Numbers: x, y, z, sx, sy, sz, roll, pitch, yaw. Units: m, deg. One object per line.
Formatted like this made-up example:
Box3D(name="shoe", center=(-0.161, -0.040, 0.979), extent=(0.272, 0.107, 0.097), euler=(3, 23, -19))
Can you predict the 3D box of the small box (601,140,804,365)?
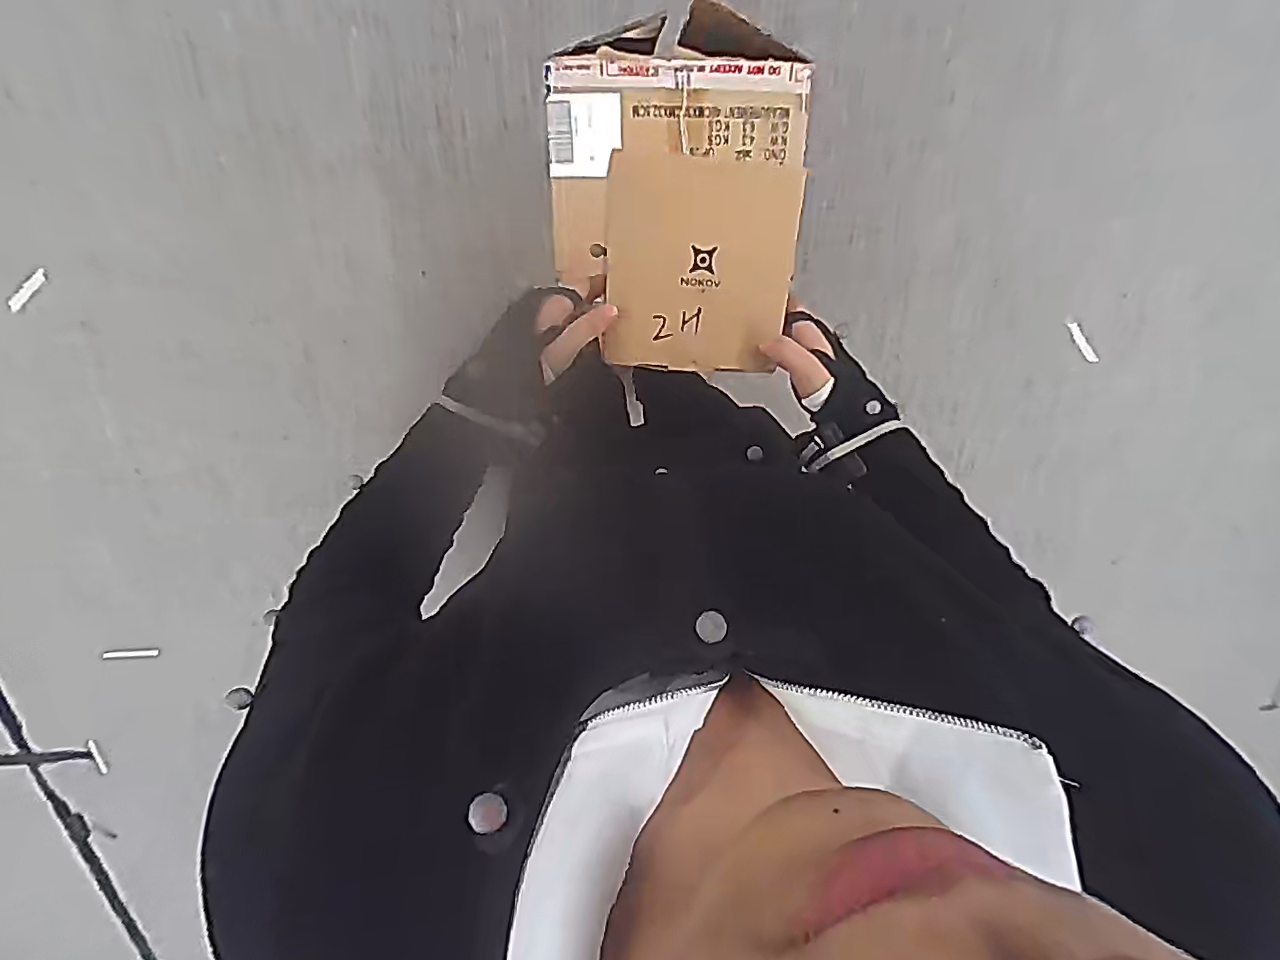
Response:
Box3D(name="small box", center=(0.046, -0.221, 0.550), extent=(0.168, 0.176, 0.179), euler=(1, 111, -5))
